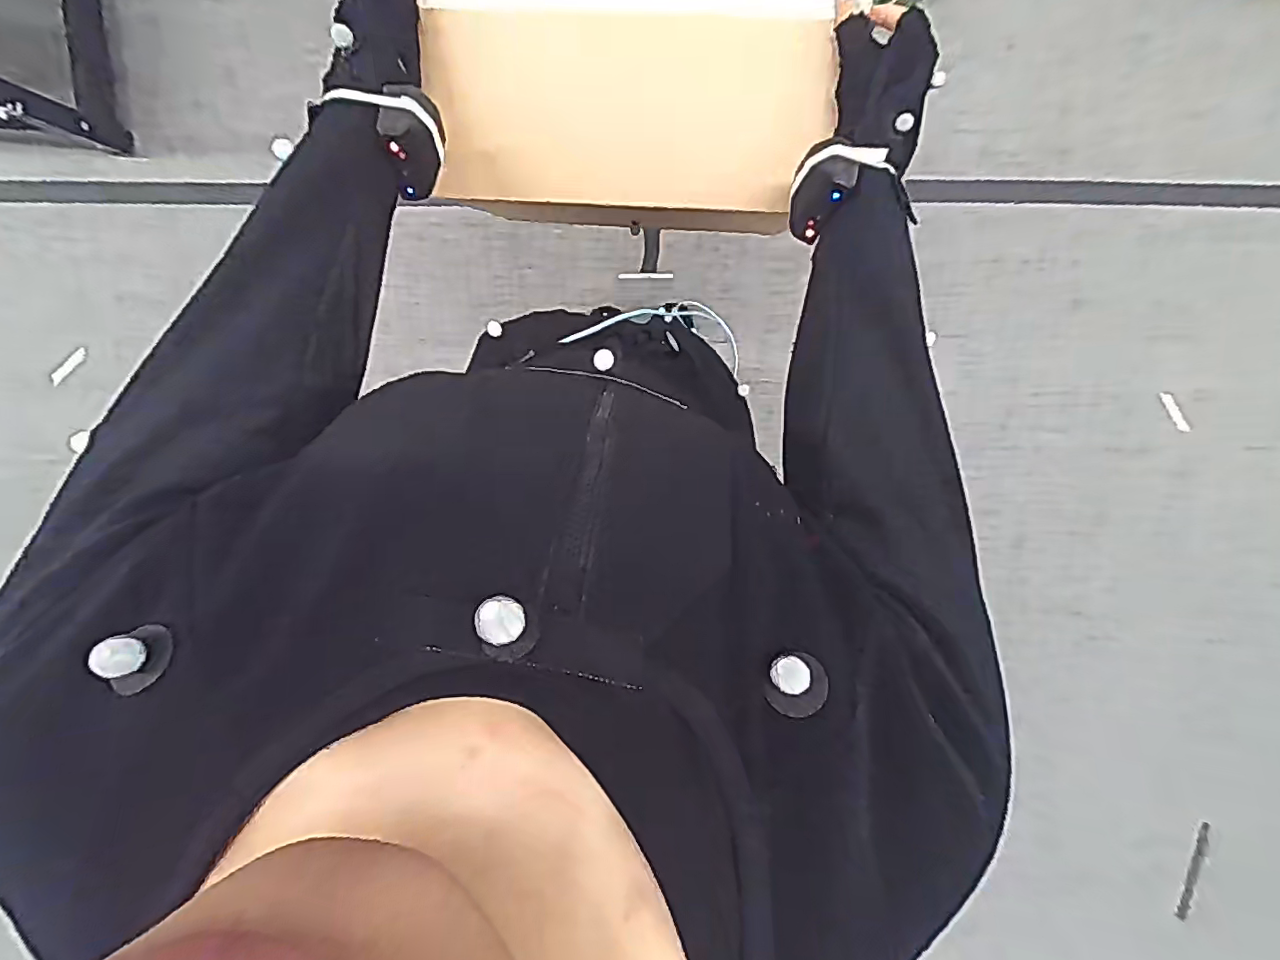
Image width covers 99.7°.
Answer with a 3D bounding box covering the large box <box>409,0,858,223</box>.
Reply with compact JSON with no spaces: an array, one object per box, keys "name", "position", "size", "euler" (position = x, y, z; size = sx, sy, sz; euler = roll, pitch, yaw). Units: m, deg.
[{"name":"large box","position":[0.002,-0.473,0.611],"size":[0.408,0.320,0.320],"euler":[4,111,3]}]
